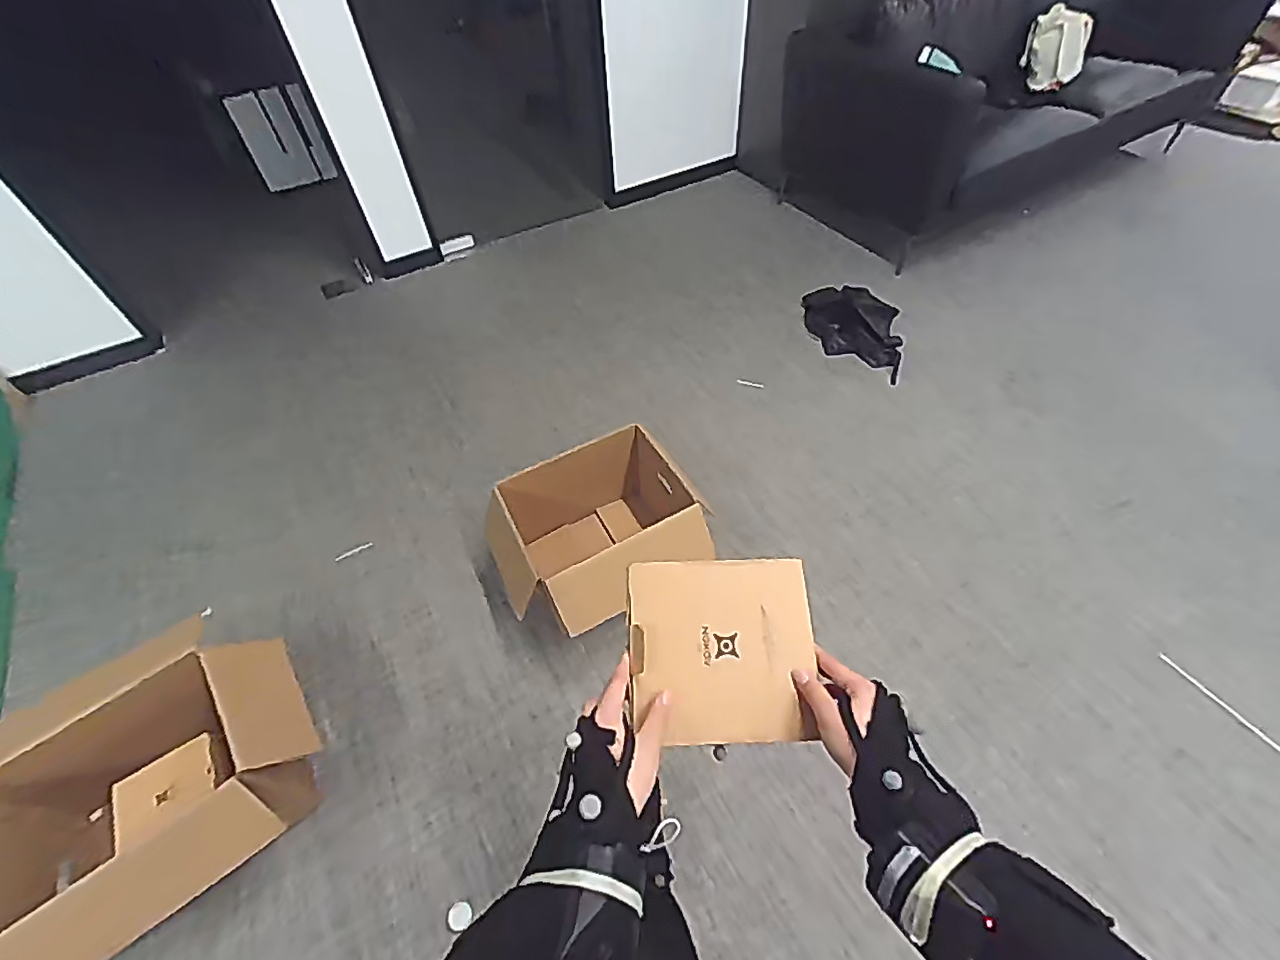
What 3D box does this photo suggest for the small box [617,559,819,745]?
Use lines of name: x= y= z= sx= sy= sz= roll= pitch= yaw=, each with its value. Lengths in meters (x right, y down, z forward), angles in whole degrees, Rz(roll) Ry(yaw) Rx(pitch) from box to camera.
small box: x=0.066 y=0.185 z=0.570 sx=0.179 sy=0.176 sz=0.168 roll=-1 pitch=67 yaw=-3
